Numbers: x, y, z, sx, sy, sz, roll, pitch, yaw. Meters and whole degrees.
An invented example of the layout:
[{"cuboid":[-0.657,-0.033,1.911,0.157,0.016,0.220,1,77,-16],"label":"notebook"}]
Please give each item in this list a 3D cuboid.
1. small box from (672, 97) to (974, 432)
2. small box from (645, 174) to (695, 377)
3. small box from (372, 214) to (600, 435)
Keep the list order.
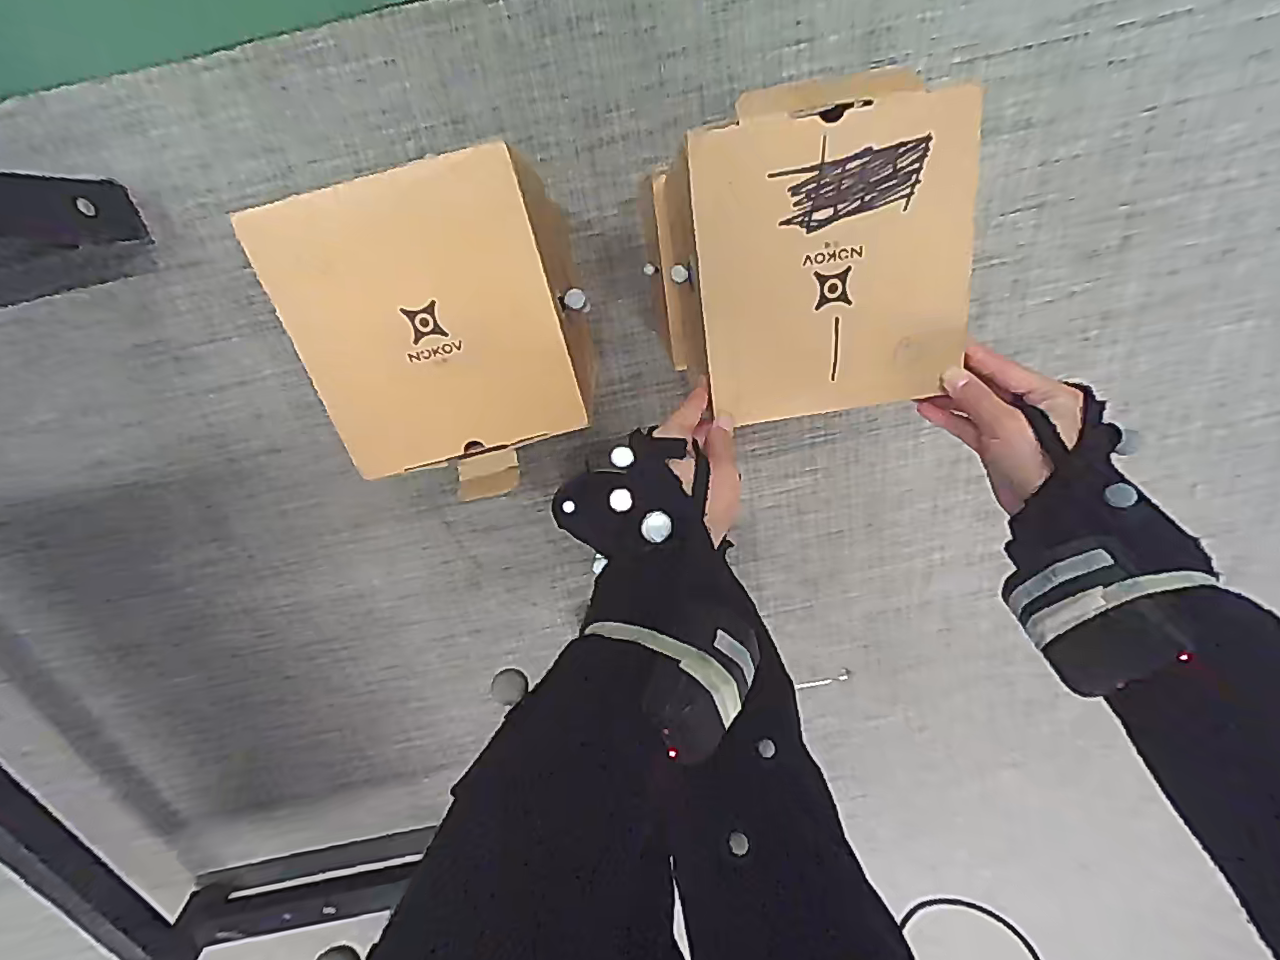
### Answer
[{"cuboid":[0.119,-0.151,0.409,0.168,0.176,0.179,-9,110,3],"label":"small box"},{"cuboid":[0.101,-0.224,0.568,0.168,0.176,0.179,-10,116,1],"label":"small box"},{"cuboid":[-0.141,-0.171,0.574,0.168,0.176,0.179,-13,114,3],"label":"small box"}]
